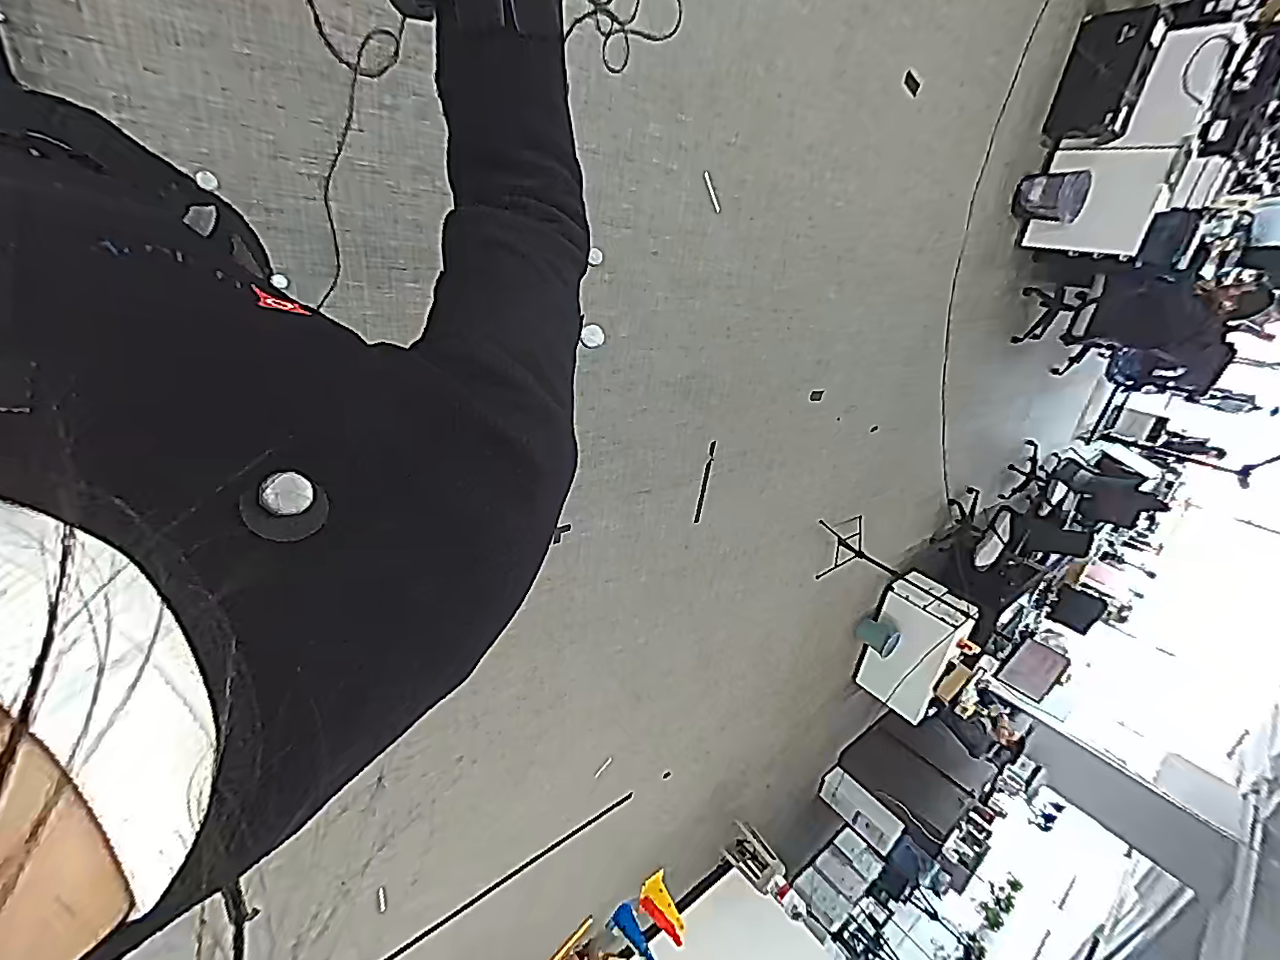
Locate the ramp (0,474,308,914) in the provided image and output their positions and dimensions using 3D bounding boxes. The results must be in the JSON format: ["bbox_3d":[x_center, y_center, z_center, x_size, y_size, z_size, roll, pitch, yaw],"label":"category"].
[{"bbox_3d":[-1.124,0.495,1.274,0.509,0.206,0.991,-11,120,-37],"label":"ramp"}]
